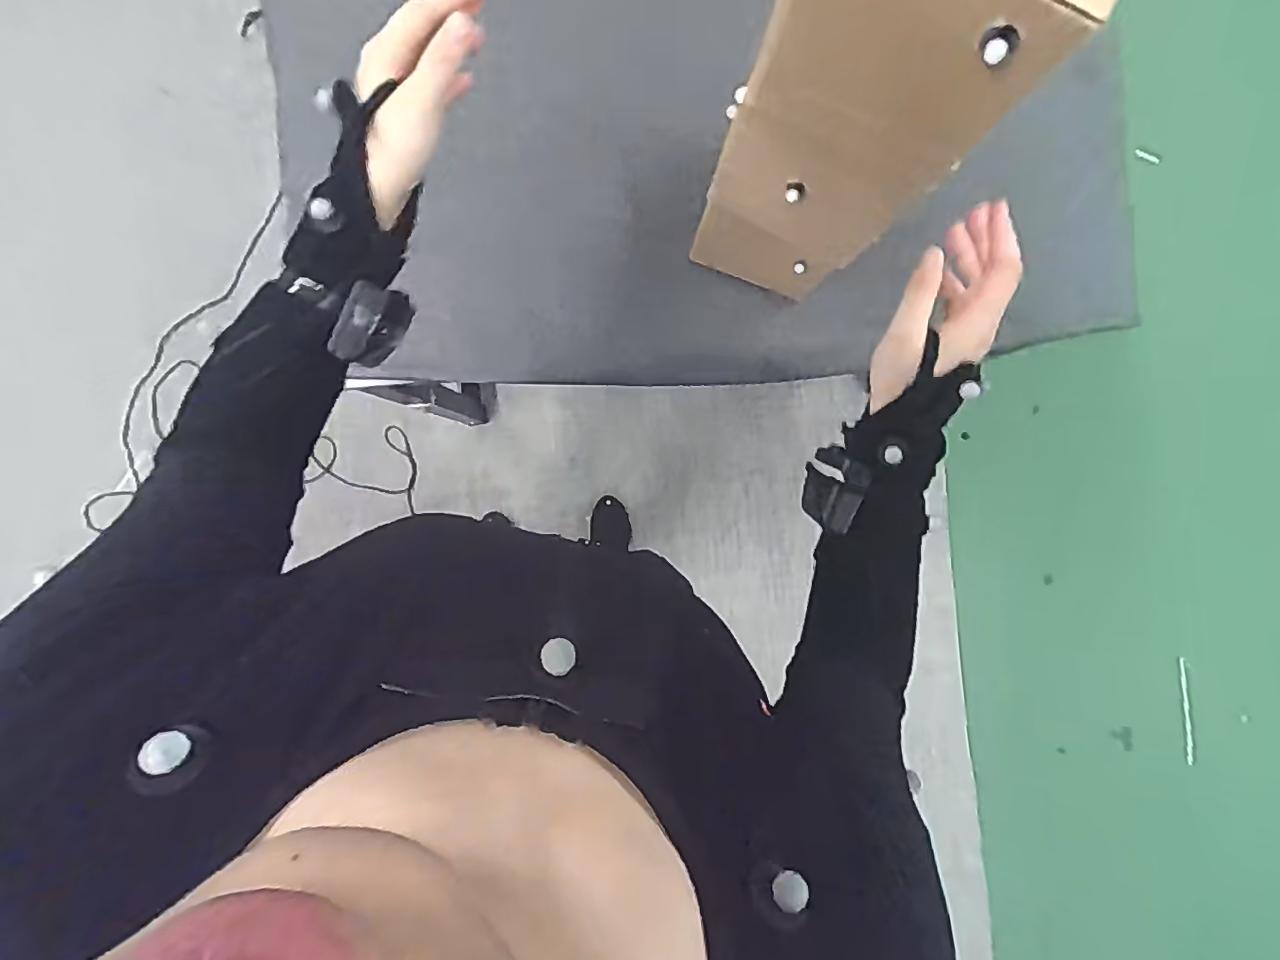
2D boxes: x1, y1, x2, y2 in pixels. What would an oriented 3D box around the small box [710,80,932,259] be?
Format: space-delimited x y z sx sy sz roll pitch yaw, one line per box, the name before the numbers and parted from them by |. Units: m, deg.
small box | 0.190 -0.346 0.529 0.179 0.176 0.168 27 88 -2
